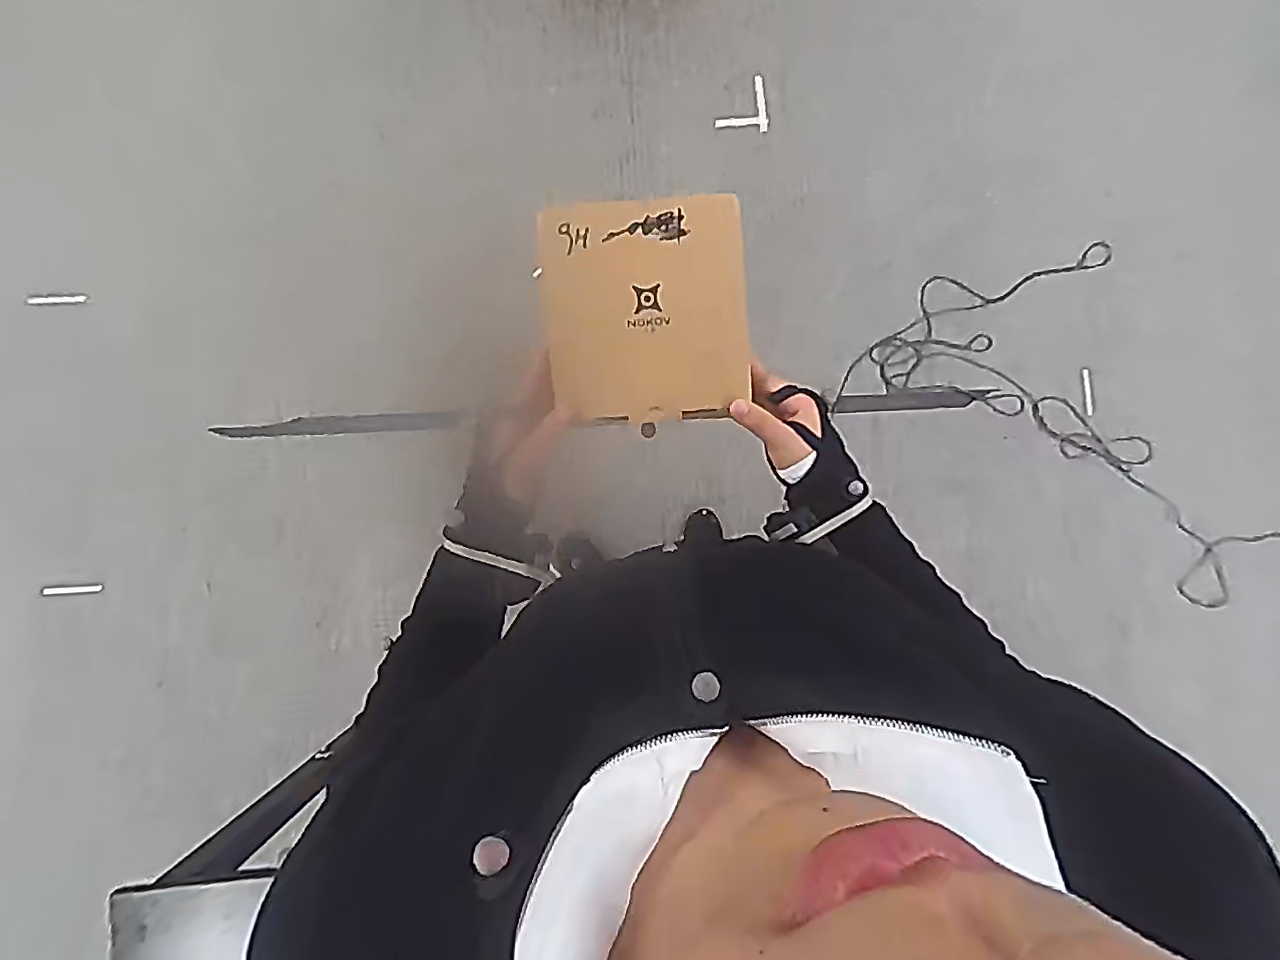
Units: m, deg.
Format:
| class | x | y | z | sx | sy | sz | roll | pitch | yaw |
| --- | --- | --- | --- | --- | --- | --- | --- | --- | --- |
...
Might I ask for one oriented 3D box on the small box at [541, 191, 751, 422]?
| class | x | y | z | sx | sy | sz | roll | pitch | yaw |
| --- | --- | --- | --- | --- | --- | --- | --- | --- | --- |
| small box | 0.005 | -0.151 | 0.526 | 0.168 | 0.176 | 0.179 | -6 | 96 | -2 |
